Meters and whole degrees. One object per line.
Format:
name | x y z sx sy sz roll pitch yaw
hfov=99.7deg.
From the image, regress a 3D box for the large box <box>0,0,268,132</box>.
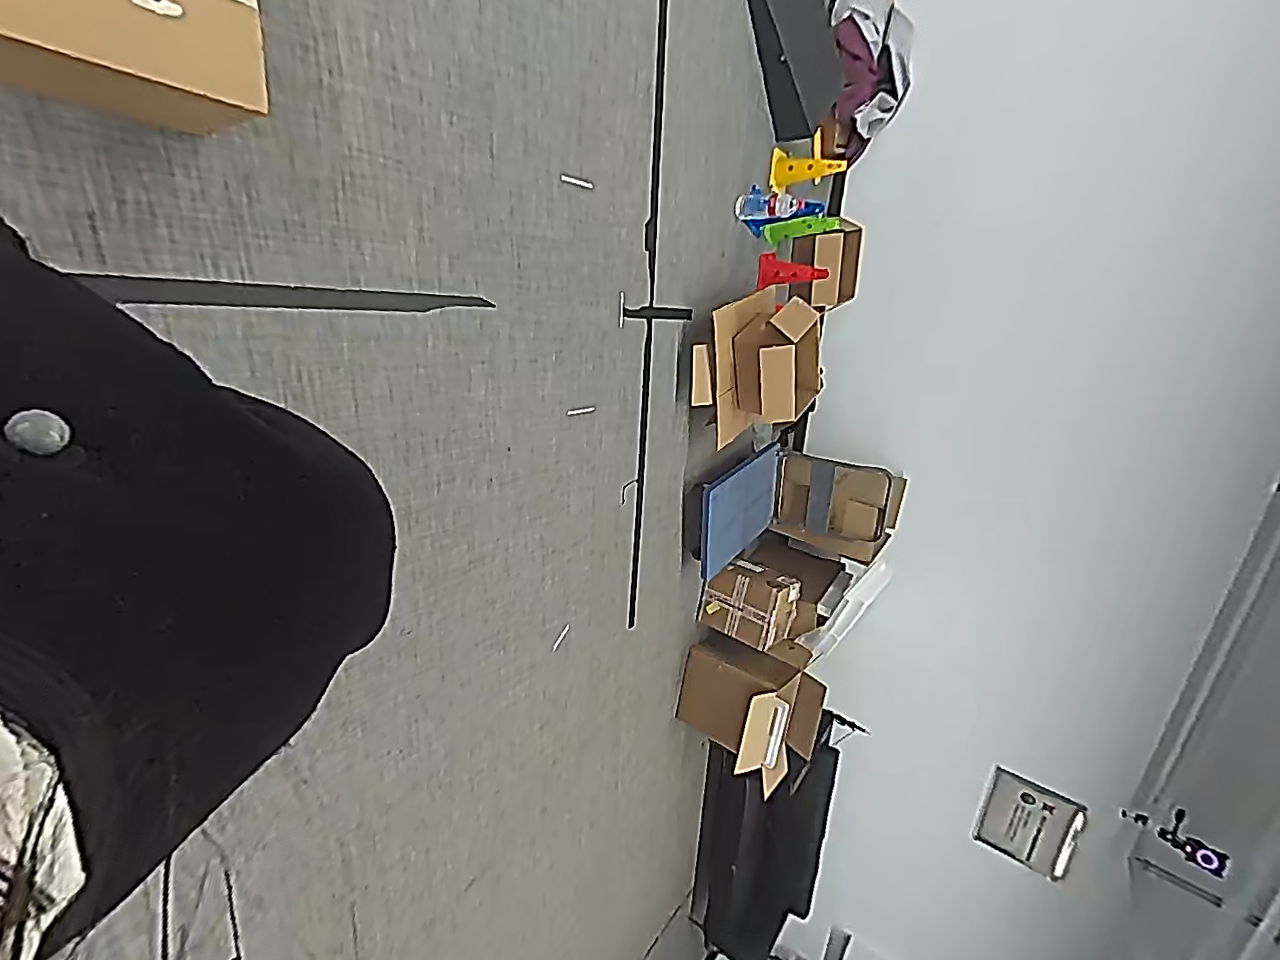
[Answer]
large box | -0.859 -0.768 0.803 0.408 0.320 0.320 -17 118 -51
